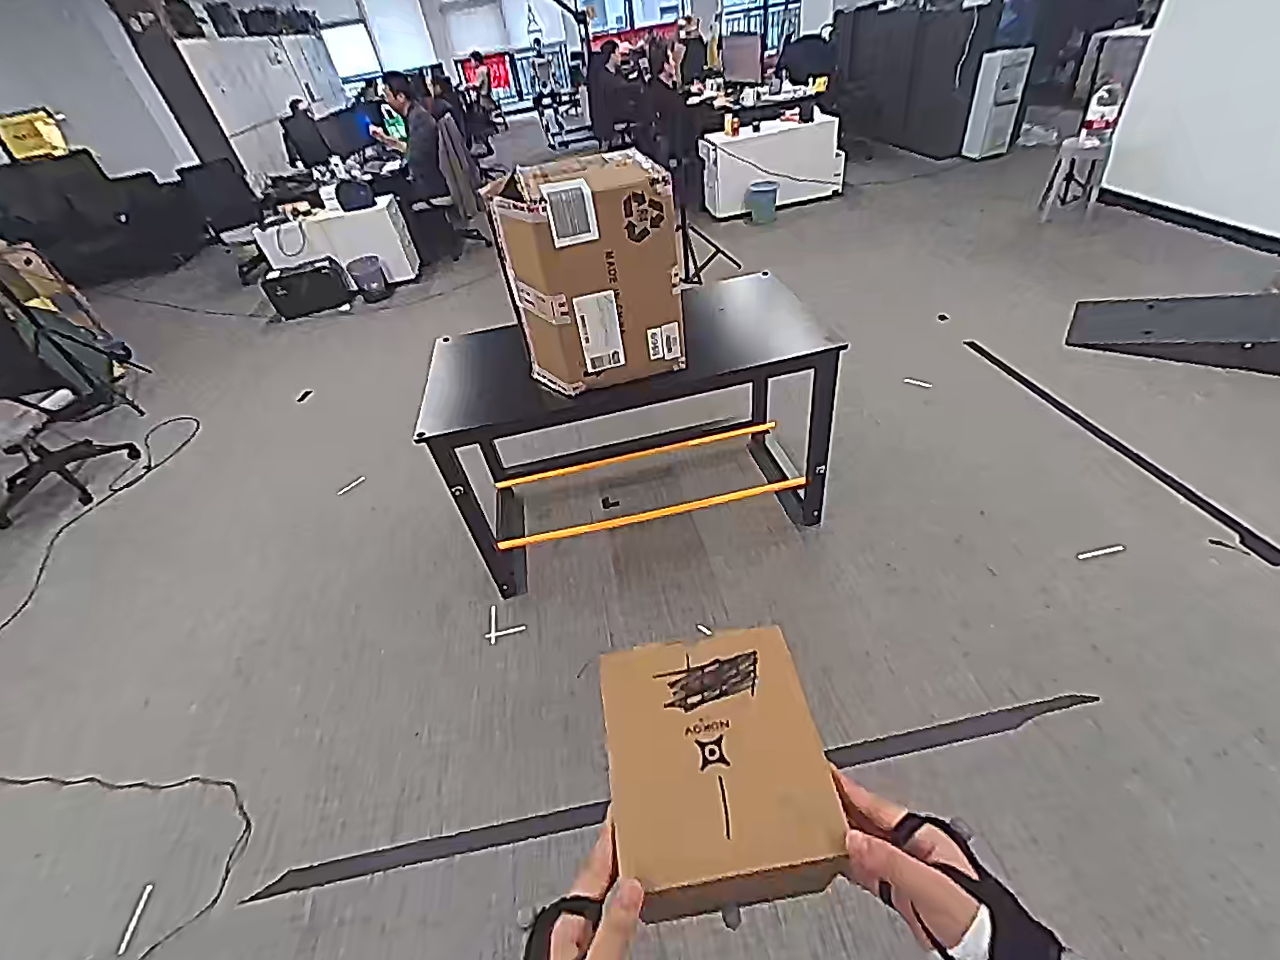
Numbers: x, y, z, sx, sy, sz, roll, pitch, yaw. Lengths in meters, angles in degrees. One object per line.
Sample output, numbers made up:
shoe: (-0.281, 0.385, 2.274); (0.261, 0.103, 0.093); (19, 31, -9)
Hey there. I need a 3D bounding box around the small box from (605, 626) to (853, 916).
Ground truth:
small box: (0.064, 0.260, 0.486); (0.168, 0.176, 0.179); (-9, 46, -1)
